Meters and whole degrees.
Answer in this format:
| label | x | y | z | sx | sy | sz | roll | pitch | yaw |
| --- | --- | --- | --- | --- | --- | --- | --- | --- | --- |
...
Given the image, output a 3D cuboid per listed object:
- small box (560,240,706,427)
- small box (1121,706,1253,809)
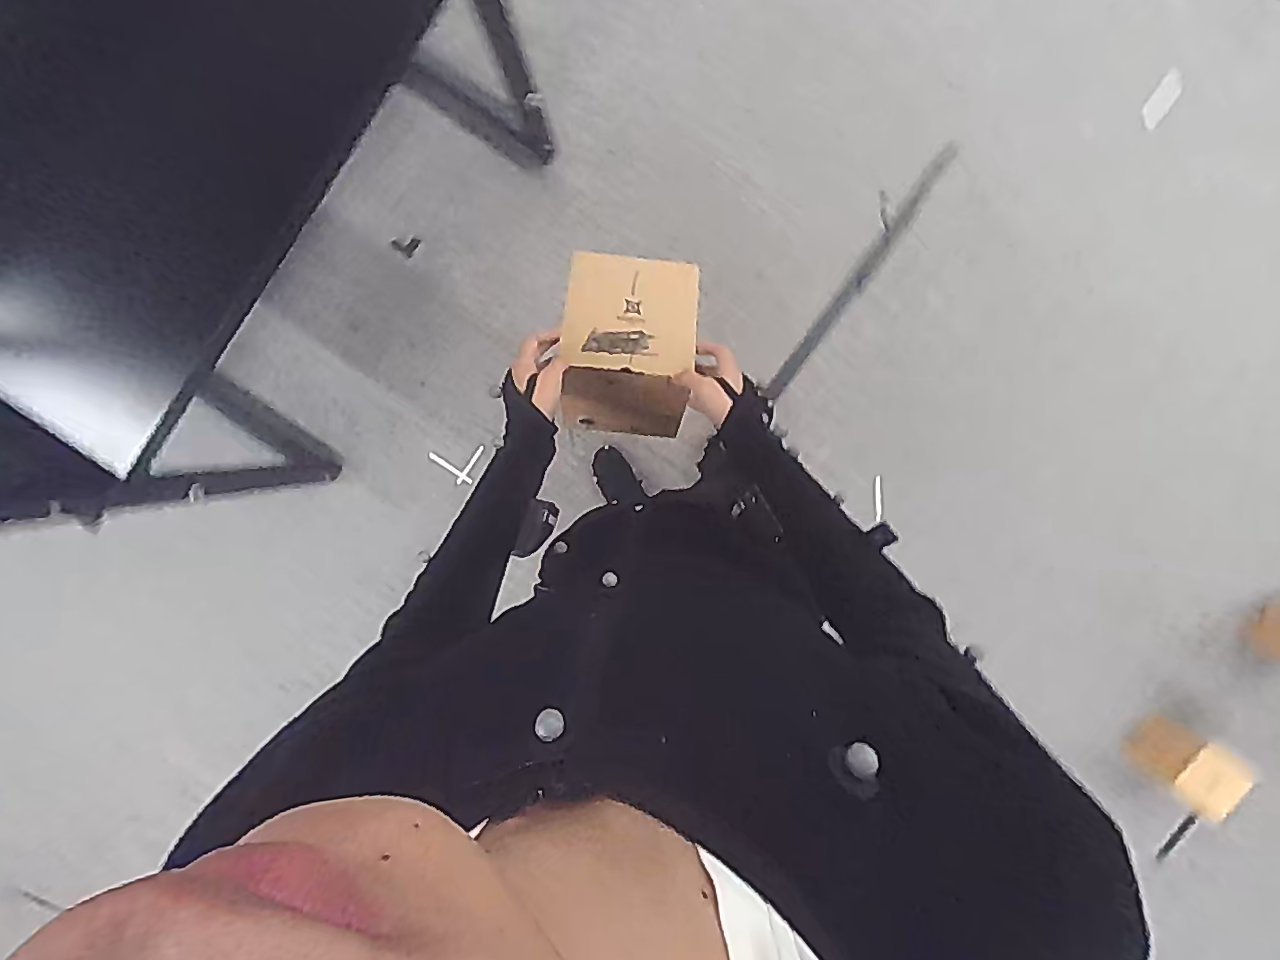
| label | x | y | z | sx | sy | sz | roll | pitch | yaw |
| --- | --- | --- | --- | --- | --- | --- | --- | --- | --- |
| small box | -0.010 | -0.187 | 0.732 | 0.168 | 0.176 | 0.179 | 7 | 69 | -3 |
| small box | 1.590 | 0.803 | 1.584 | 0.179 | 0.176 | 0.168 | 37 | 94 | -1 |
